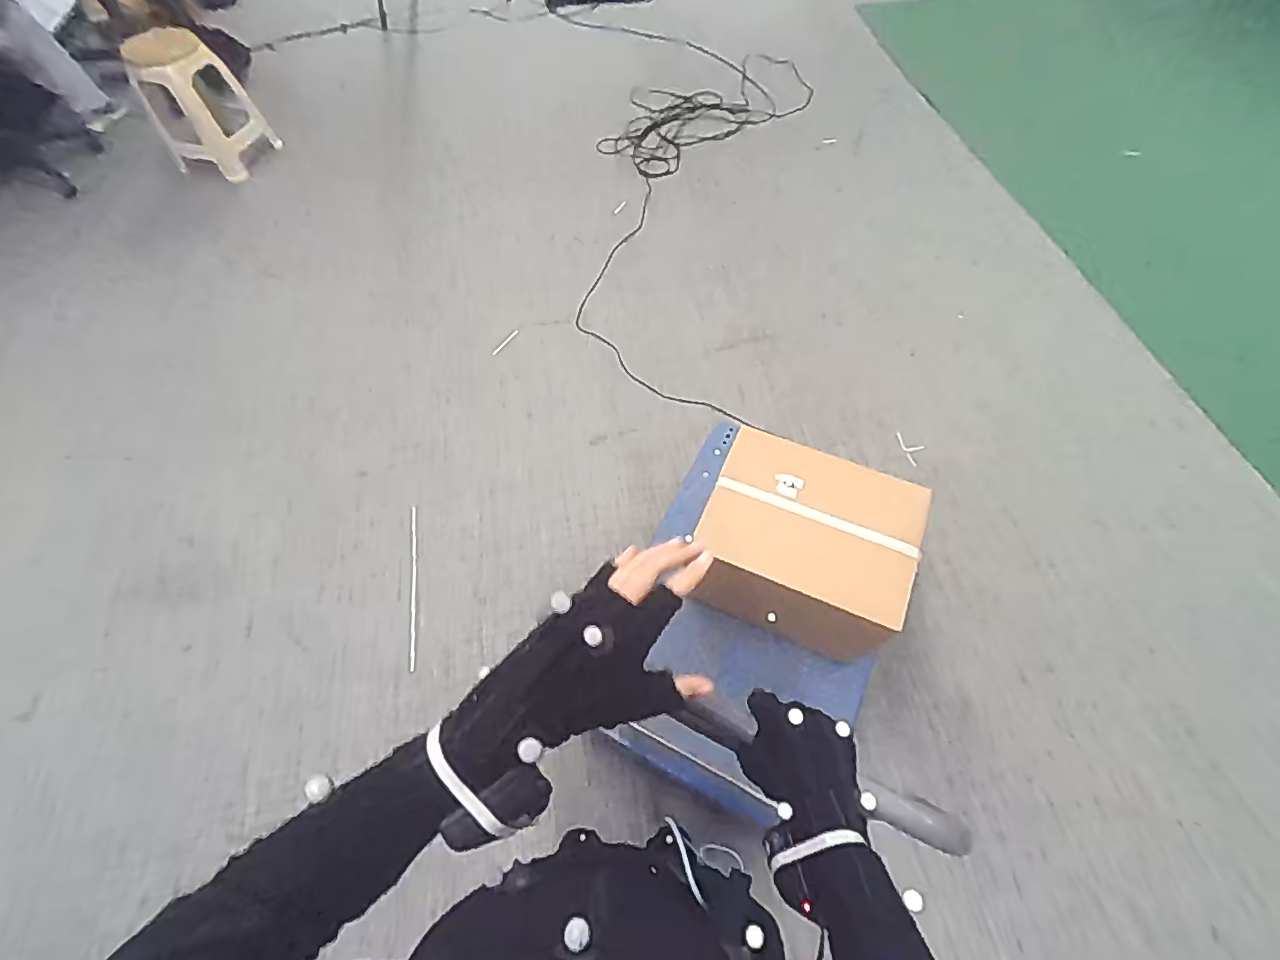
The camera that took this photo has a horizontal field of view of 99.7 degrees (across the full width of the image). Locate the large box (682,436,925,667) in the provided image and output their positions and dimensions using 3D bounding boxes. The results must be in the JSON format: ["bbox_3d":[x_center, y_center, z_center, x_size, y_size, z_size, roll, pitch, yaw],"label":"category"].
[{"bbox_3d":[0.334,0.163,1.179,0.408,0.320,0.320,20,62,13],"label":"large box"}]
